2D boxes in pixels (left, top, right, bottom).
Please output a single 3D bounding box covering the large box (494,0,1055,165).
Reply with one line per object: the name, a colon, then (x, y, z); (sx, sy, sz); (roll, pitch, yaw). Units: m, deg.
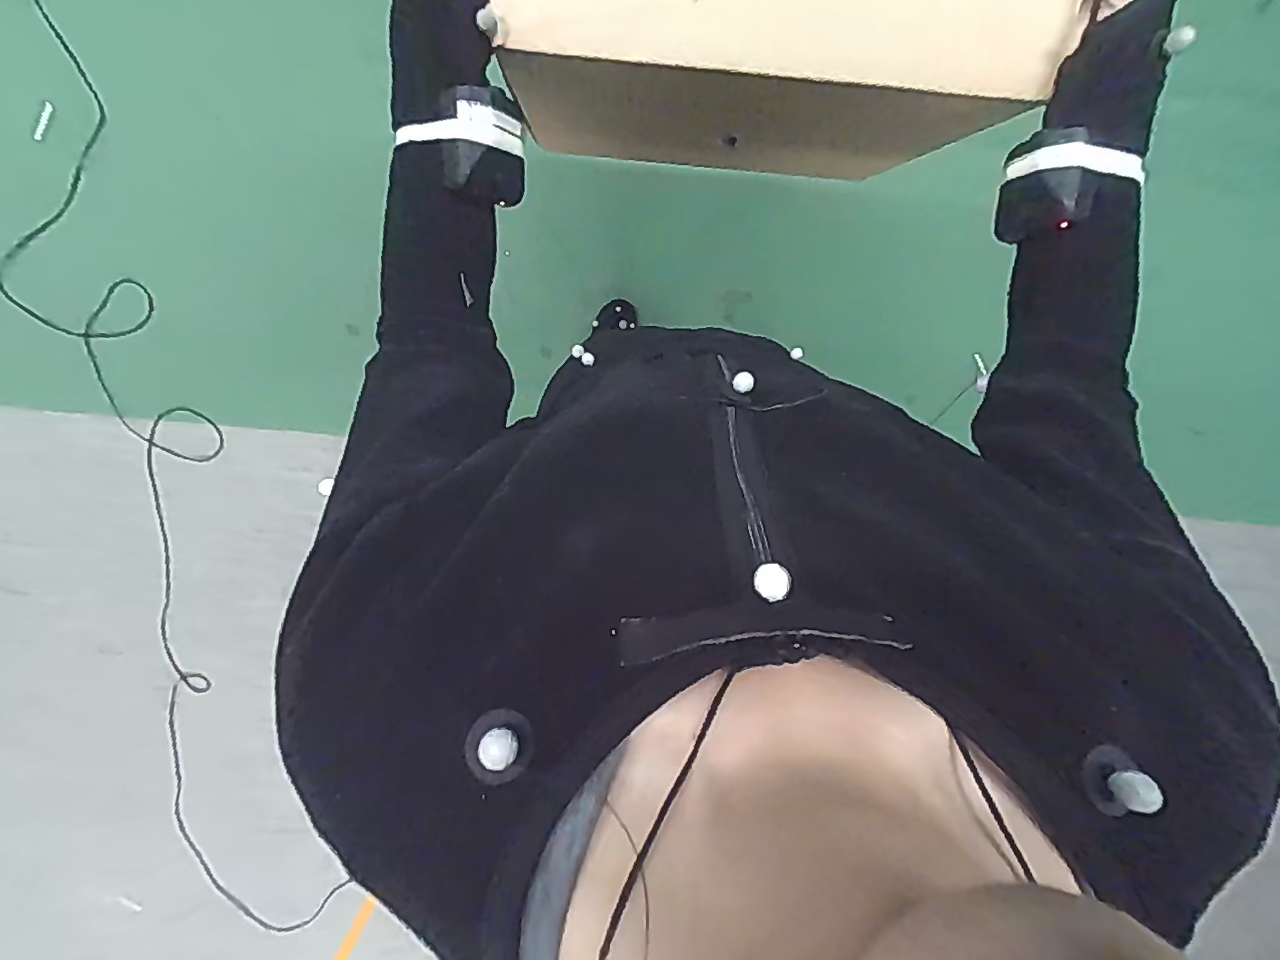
large box: (0.098, -0.488, 0.480); (0.408, 0.320, 0.320); (2, 109, -3)
